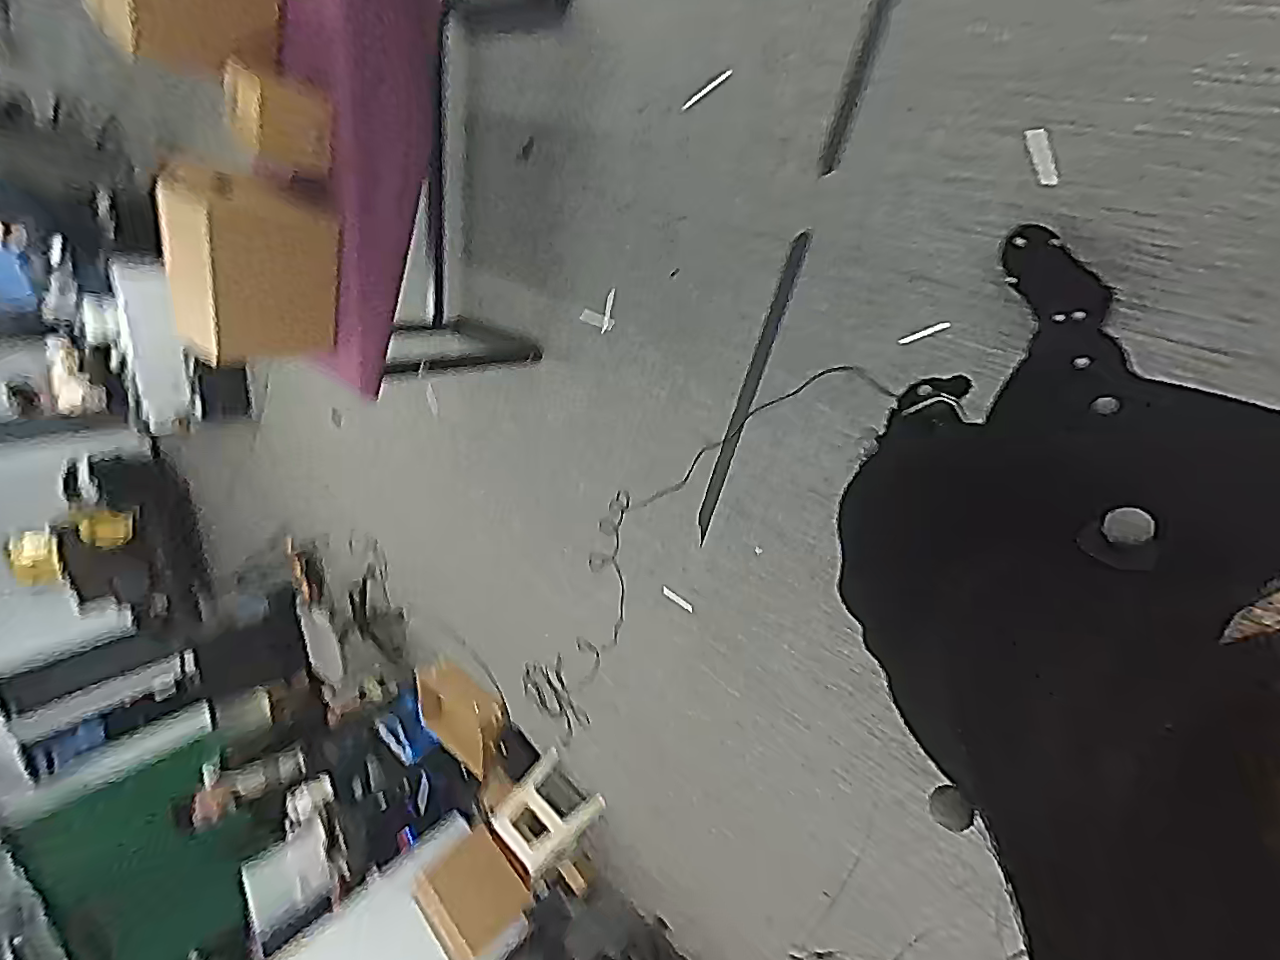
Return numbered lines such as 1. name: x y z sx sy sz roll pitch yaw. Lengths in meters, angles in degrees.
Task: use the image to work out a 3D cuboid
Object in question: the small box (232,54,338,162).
1. small box: -0.889 -0.924 1.357 0.179 0.176 0.168 40 126 22
